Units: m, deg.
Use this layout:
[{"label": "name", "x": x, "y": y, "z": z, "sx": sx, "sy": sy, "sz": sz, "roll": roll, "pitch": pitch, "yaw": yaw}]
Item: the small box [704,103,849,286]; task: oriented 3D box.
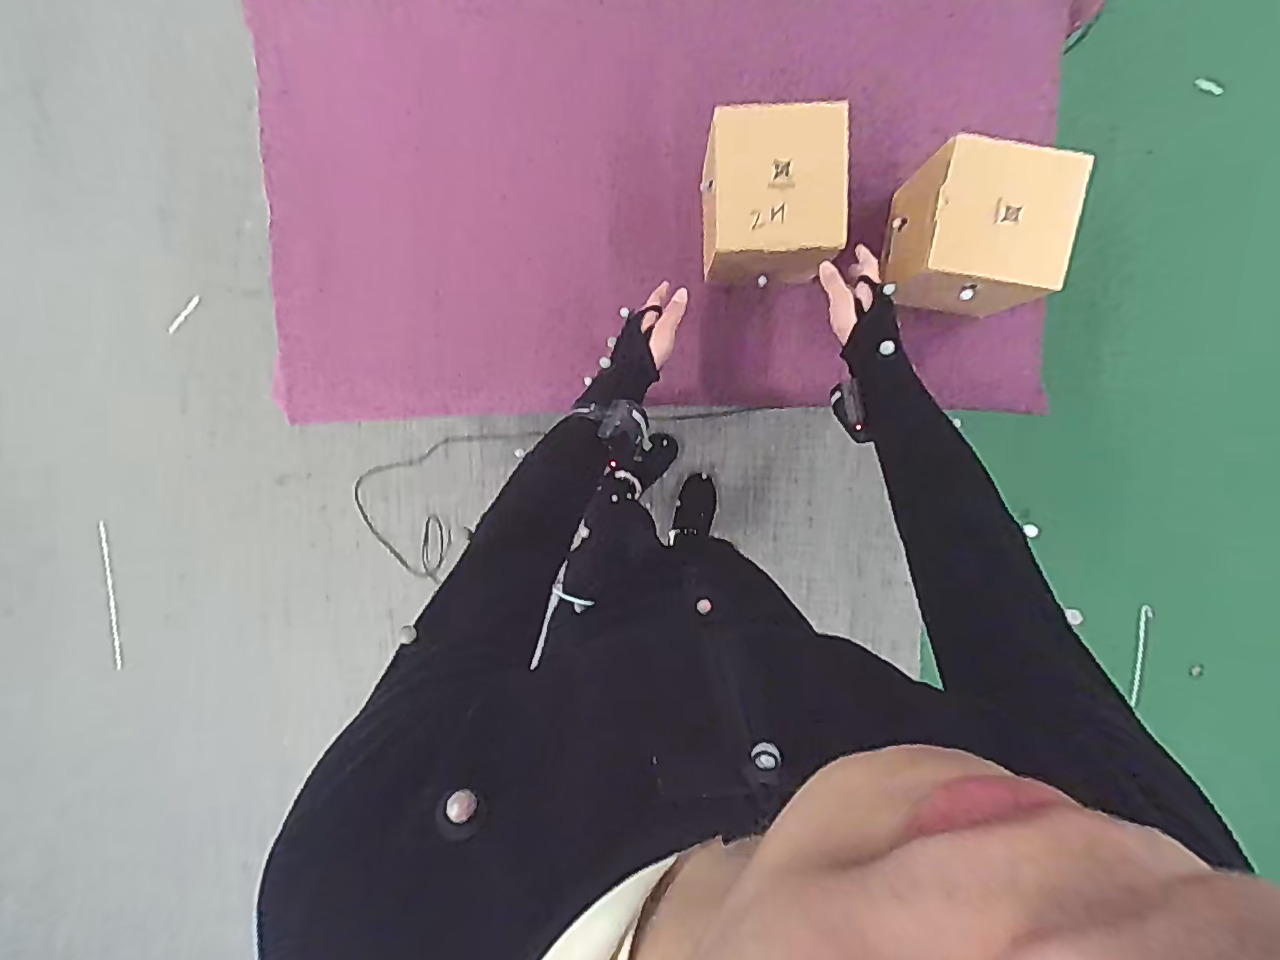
[{"label": "small box", "x": 0.178, "y": -0.382, "z": 0.750, "sx": 0.168, "sy": 0.176, "sz": 0.179, "roll": -1, "pitch": 96, "yaw": 3}]

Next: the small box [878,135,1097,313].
[{"label": "small box", "x": 0.461, "y": -0.337, "z": 0.747, "sx": 0.179, "sy": 0.176, "sz": 0.168, "roll": 10, "pitch": 97, "yaw": 3}]
